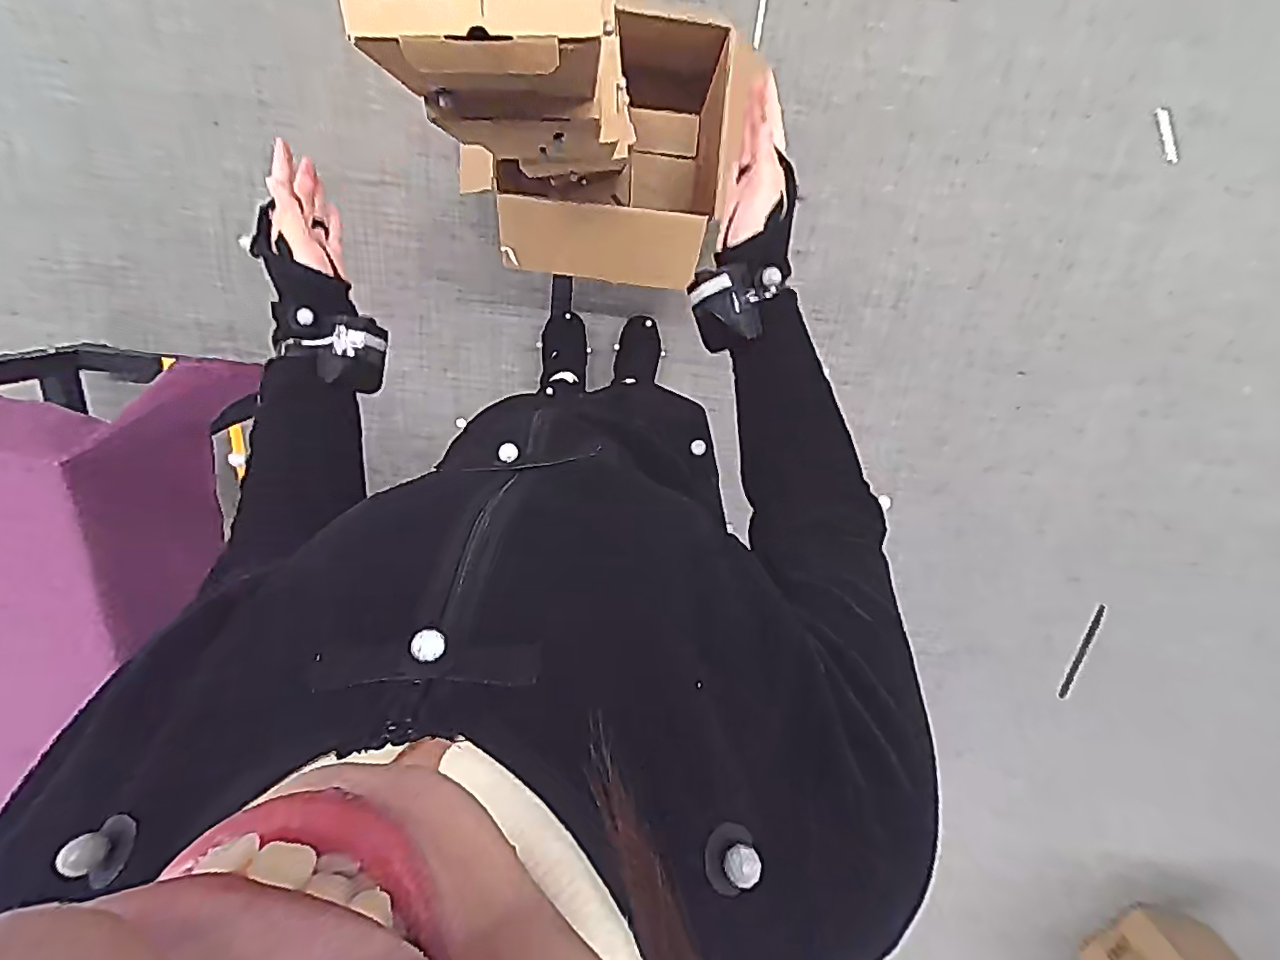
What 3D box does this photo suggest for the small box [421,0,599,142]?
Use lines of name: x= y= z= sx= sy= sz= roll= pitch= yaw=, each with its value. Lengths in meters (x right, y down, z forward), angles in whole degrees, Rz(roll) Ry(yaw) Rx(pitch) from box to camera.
small box: x=-0.124 y=-0.452 z=0.544 sx=0.168 sy=0.176 sz=0.179 roll=-2 pitch=115 yaw=-6

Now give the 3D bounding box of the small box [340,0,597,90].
small box: x=-0.115 y=-0.400 z=0.387 sx=0.168 sy=0.176 sz=0.179 roll=-3 pitch=115 yaw=-5

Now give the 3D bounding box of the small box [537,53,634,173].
small box: x=-0.118 y=-0.677 z=0.983 sx=0.179 sy=0.176 sz=0.168 roll=-16 pitch=115 yaw=1

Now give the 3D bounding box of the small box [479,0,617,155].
small box: x=-0.120 y=-0.521 z=0.692 sx=0.179 sy=0.176 sz=0.168 roll=-3 pitch=116 yaw=-5
